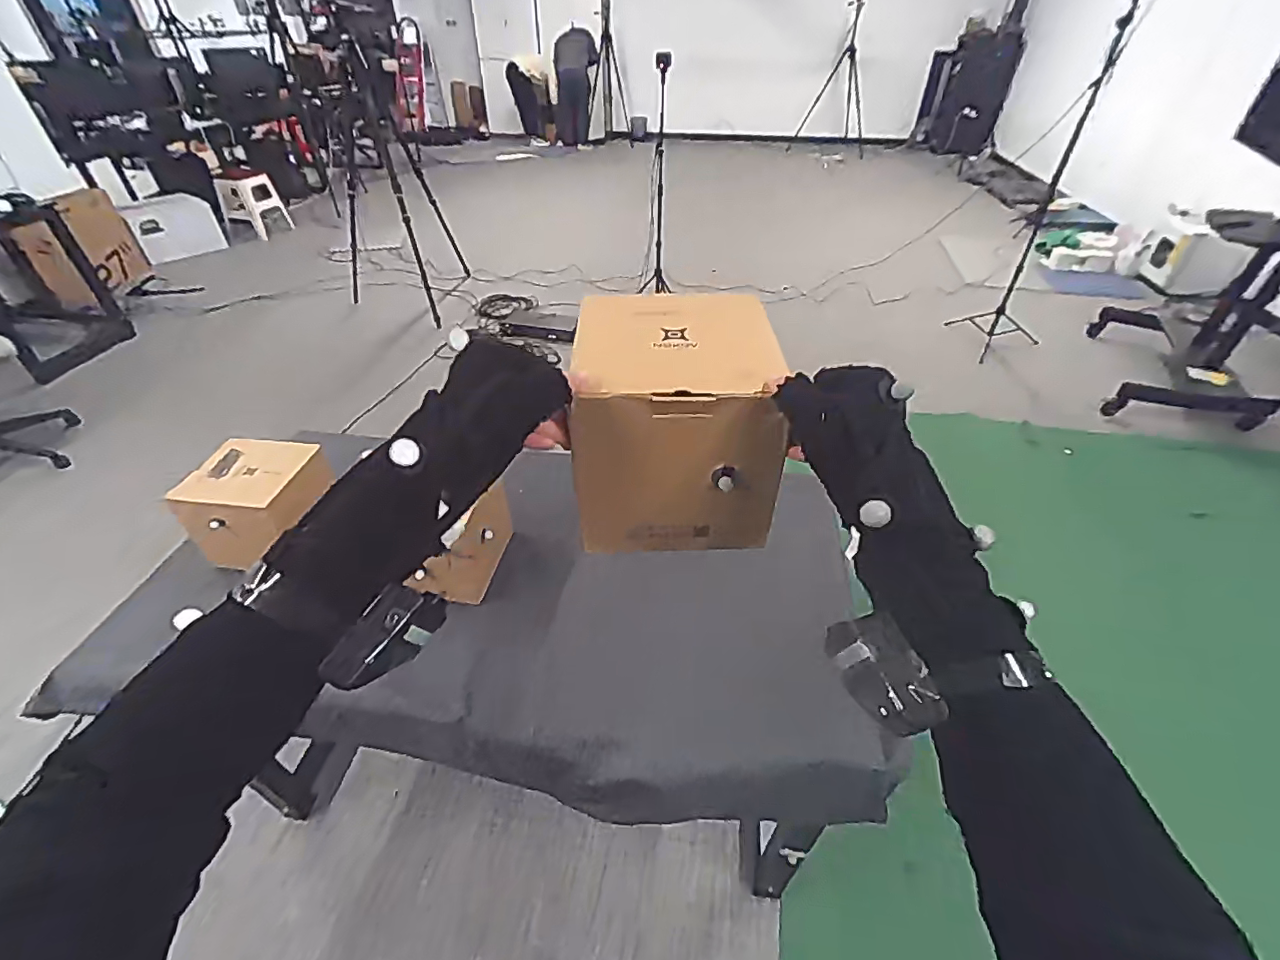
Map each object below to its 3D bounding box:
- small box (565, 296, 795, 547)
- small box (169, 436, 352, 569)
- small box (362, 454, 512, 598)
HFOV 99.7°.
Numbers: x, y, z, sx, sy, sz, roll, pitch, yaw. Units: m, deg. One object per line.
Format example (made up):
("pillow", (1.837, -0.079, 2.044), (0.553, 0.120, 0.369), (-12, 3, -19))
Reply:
("small box", (0.029, -0.053, 0.492), (0.168, 0.176, 0.179), (0, 40, -1))
("small box", (-0.658, 0.040, 0.964), (0.179, 0.176, 0.168), (5, 41, 4))
("small box", (-0.331, 0.080, 0.925), (0.168, 0.176, 0.179), (6, 42, 6))
